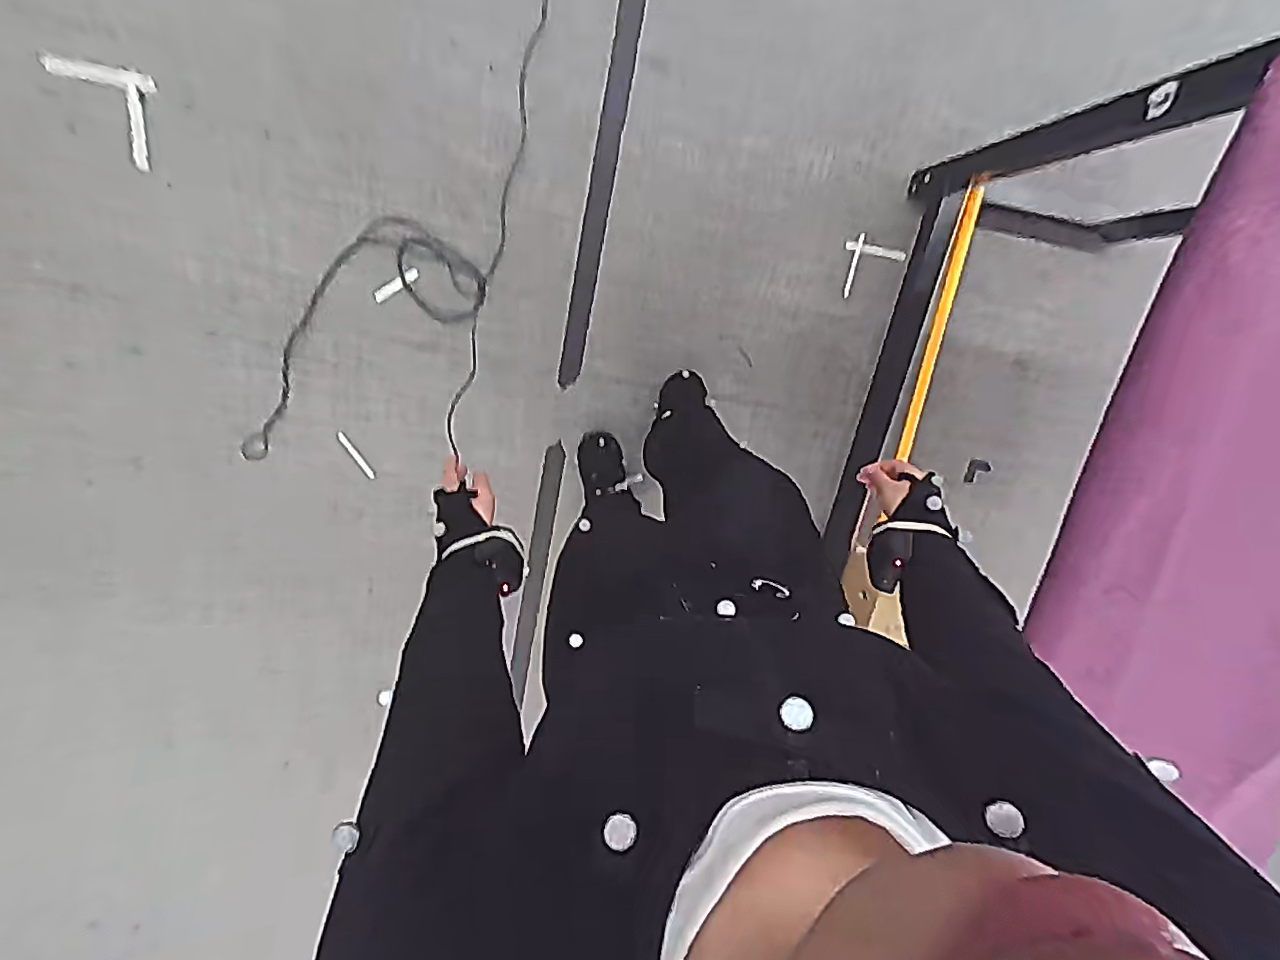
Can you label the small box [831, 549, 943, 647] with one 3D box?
[{"bbox_3d":[0.591,0.282,1.319,0.168,0.176,0.179,7,106,-10],"label":"small box"}]
